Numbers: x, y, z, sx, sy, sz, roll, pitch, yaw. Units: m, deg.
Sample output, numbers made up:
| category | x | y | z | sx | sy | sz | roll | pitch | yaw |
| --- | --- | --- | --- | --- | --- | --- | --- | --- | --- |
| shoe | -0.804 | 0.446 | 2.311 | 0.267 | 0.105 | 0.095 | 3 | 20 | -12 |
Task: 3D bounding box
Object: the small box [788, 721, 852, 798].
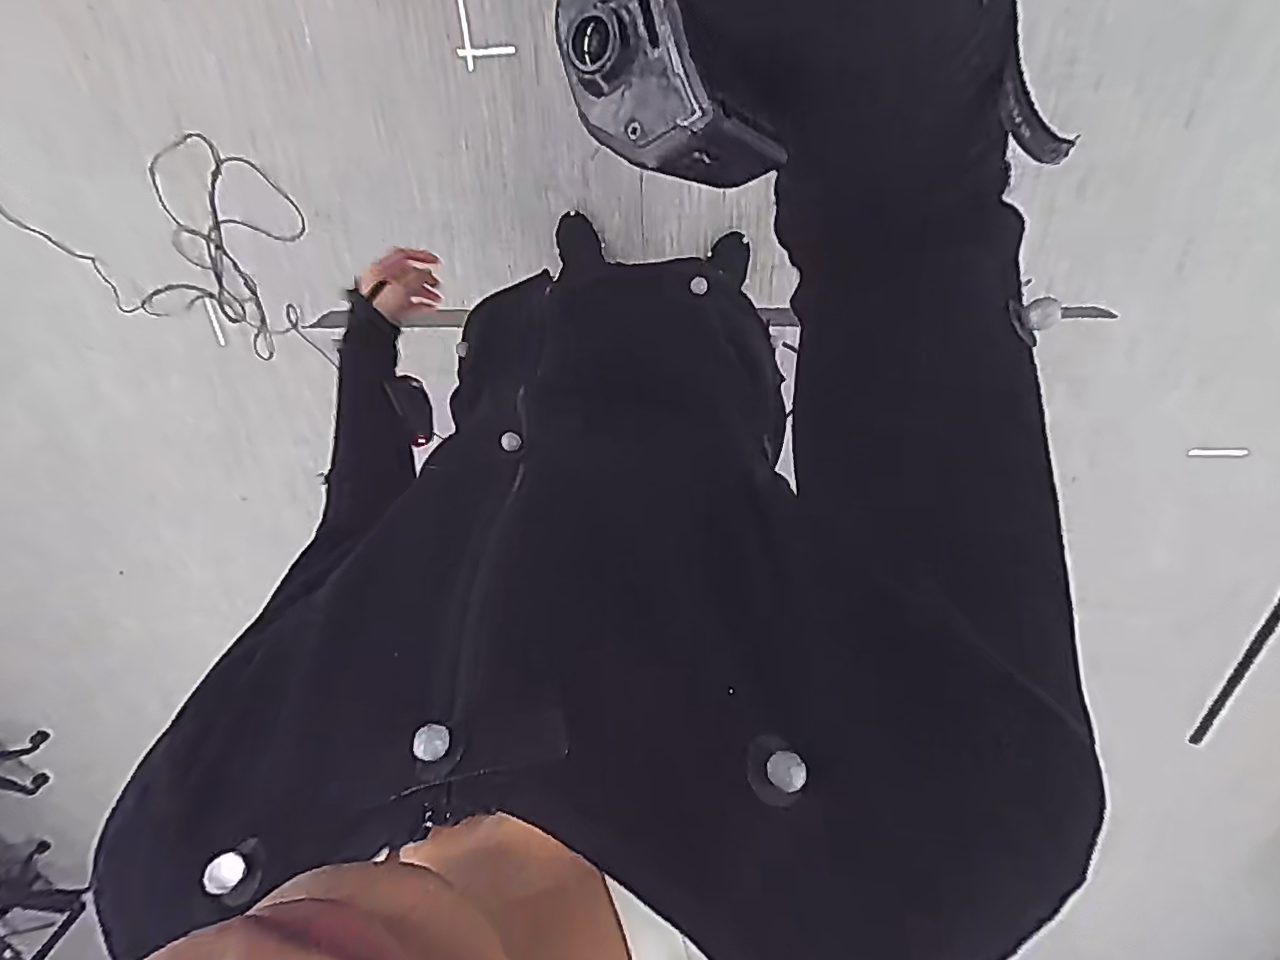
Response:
| category | x | y | z | sx | sy | sz | roll | pitch | yaw |
| --- | --- | --- | --- | --- | --- | --- | --- | --- | --- |
| small box | 0.622 | 0.979 | 1.894 | 0.168 | 0.176 | 0.179 | 1 | 116 | 2 |
